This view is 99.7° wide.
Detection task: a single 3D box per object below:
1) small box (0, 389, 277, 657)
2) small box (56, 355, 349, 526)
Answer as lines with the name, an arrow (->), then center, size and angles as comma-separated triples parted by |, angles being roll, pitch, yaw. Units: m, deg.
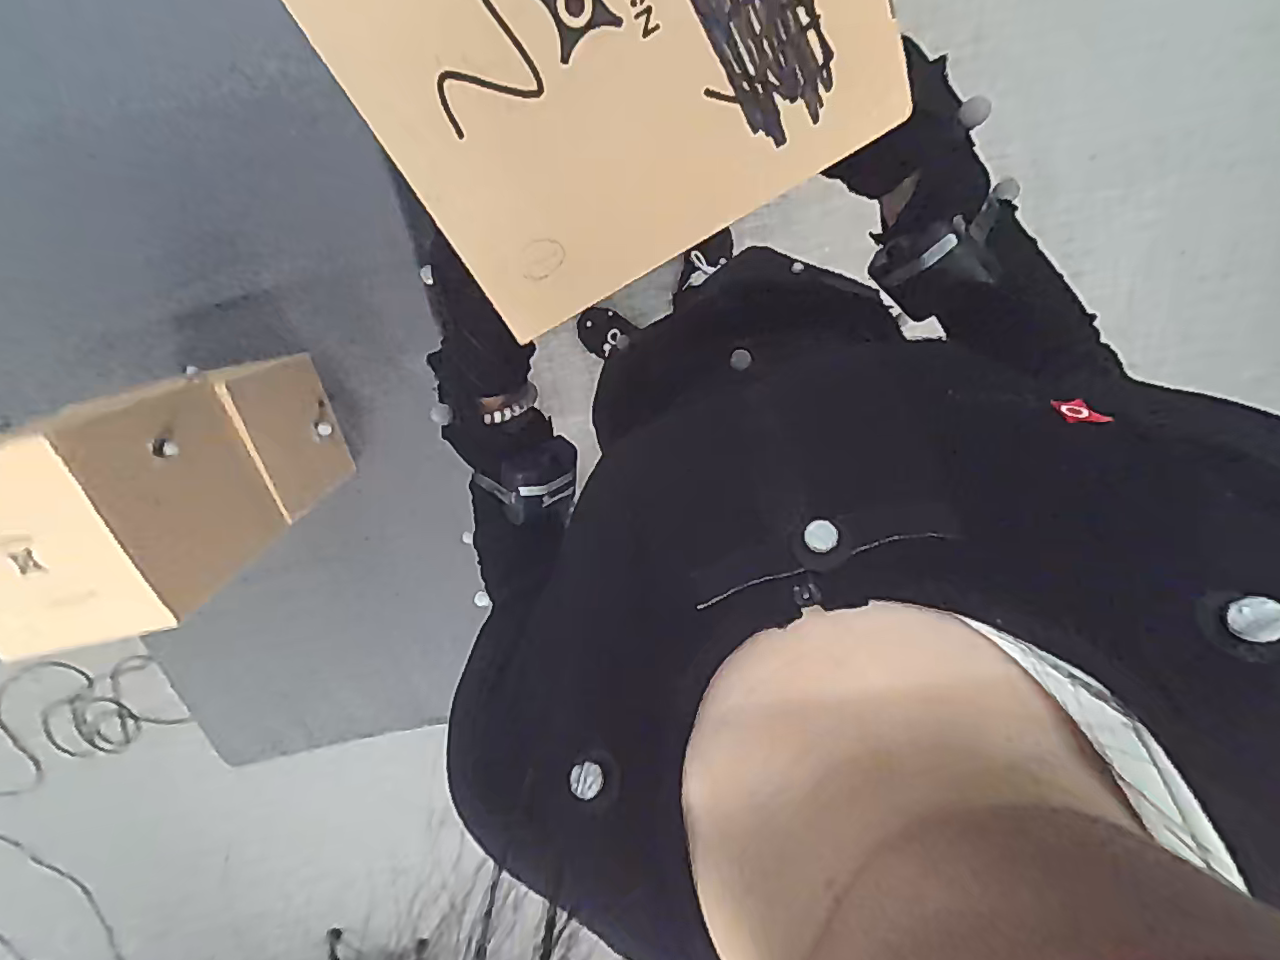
small box -> -0.483, 0.025, 0.488 | 0.168, 0.176, 0.179 | -12, 112, 3
small box -> -0.487, -0.042, 0.637 | 0.179, 0.176, 0.168 | -10, 113, 1
